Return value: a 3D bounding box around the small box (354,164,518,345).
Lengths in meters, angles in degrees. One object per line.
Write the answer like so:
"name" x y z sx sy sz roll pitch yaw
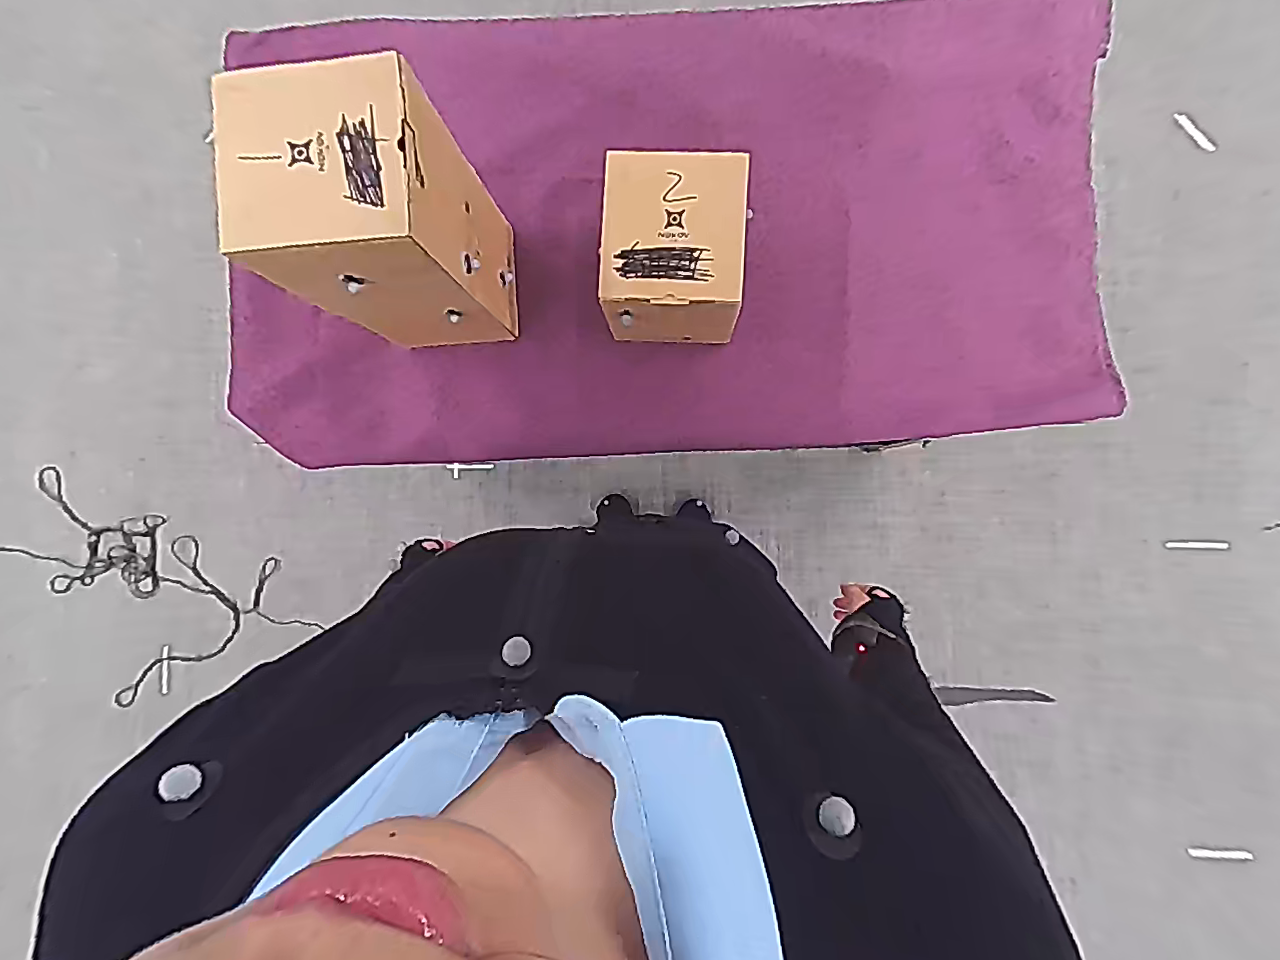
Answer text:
"small box" -0.274 -0.285 0.719 0.179 0.176 0.168 -4 89 3

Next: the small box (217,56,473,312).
"small box" -0.281 -0.284 0.555 0.179 0.176 0.168 -4 88 3
